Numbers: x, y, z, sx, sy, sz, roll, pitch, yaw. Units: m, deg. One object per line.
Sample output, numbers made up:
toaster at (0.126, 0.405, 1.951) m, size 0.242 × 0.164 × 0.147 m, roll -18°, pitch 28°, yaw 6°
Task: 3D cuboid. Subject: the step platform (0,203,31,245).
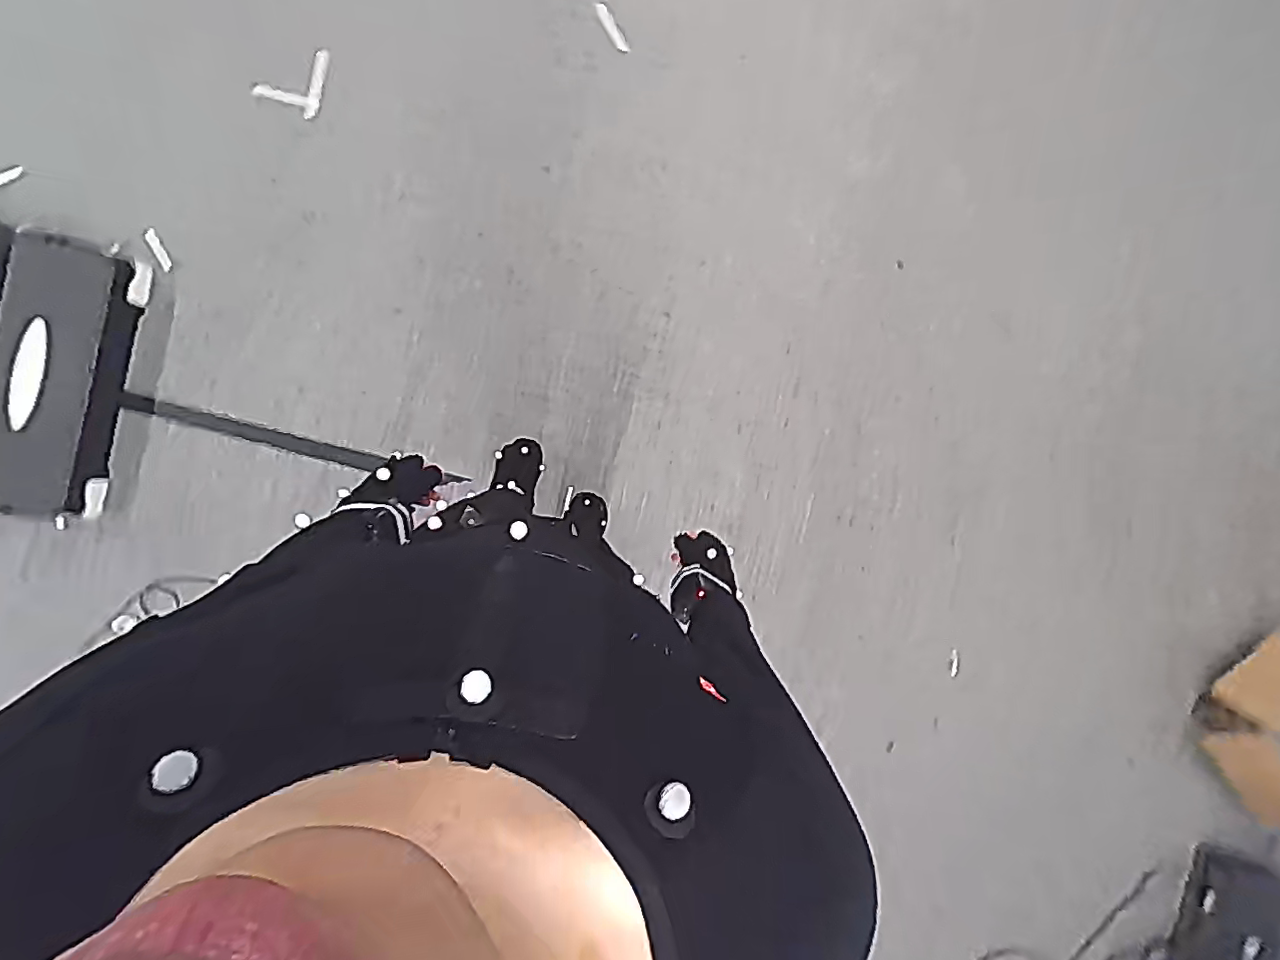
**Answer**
step platform at (-1.696, -0.364, 1.230) m, size 0.286 × 0.204 × 0.684 m, roll 13°, pitch 89°, yaw -6°
